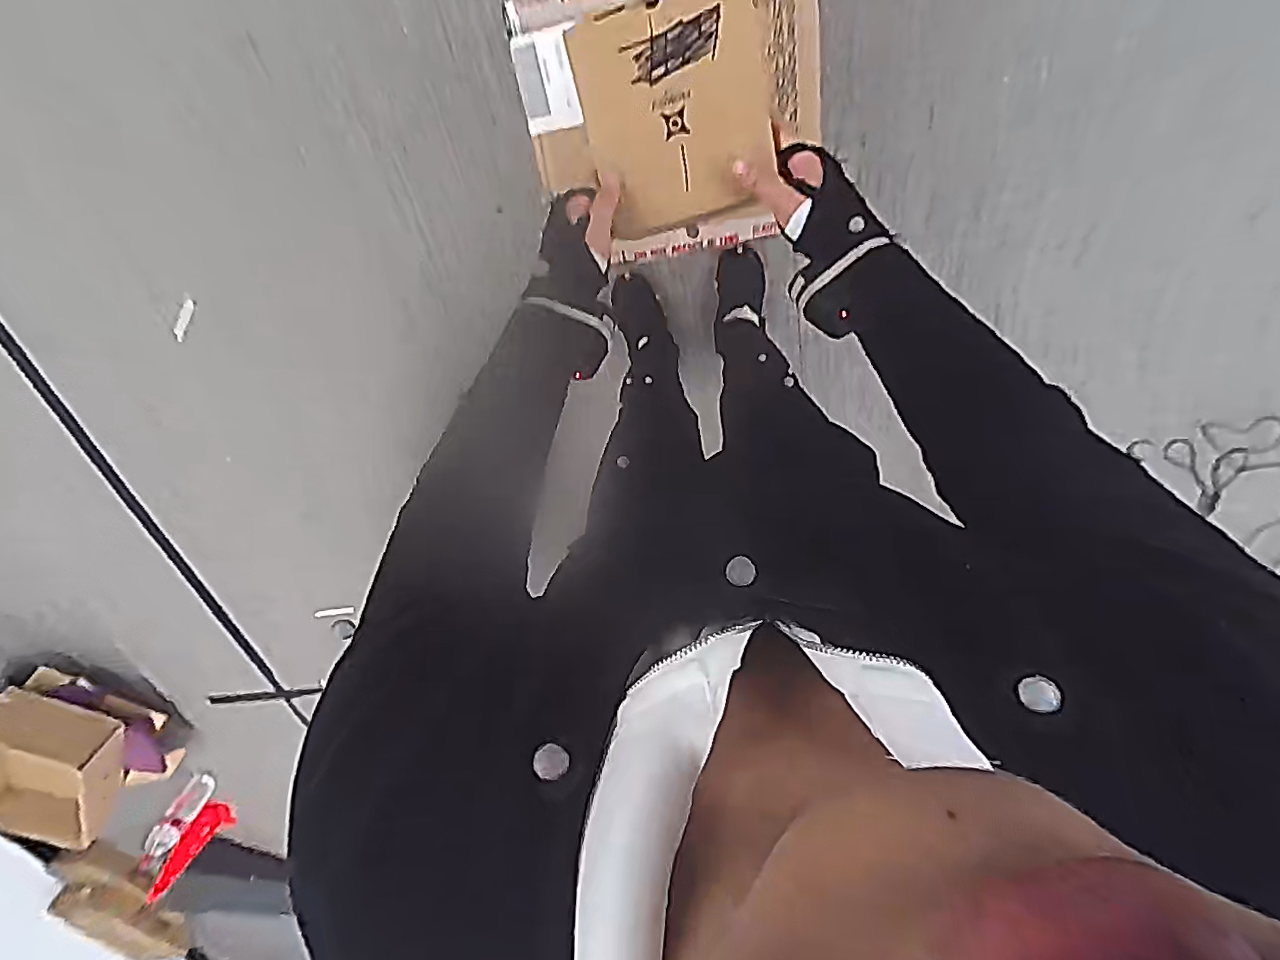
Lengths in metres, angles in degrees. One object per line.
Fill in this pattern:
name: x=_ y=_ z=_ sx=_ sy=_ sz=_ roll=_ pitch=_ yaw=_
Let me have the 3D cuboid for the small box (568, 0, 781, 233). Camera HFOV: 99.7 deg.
small box: x=0.041 y=-0.367 z=0.557 sx=0.168 sy=0.176 sz=0.179 roll=-11 pitch=113 yaw=11
